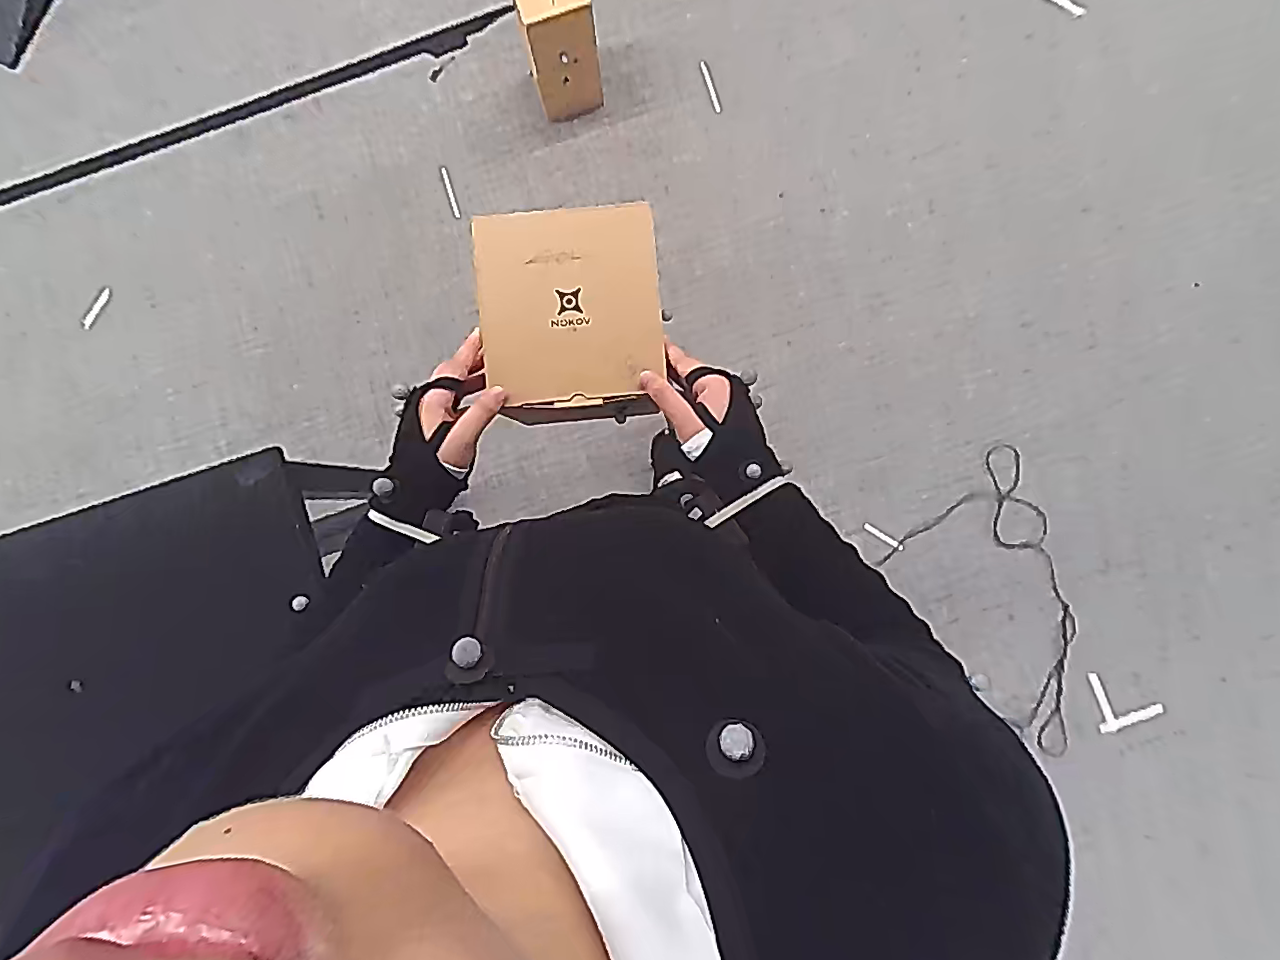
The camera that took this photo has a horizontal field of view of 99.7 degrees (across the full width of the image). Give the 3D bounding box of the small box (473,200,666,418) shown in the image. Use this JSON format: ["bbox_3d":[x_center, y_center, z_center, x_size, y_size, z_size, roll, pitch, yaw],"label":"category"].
[{"bbox_3d":[-0.064,-0.161,0.569,0.168,0.176,0.179,-6,90,-2],"label":"small box"}]

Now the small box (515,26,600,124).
[{"bbox_3d":[-0.218,-1.120,1.476,0.179,0.176,0.168,-18,88,0],"label":"small box"}]

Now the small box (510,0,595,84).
[{"bbox_3d":[-0.216,-1.122,1.311,0.168,0.176,0.179,-18,88,0],"label":"small box"}]
